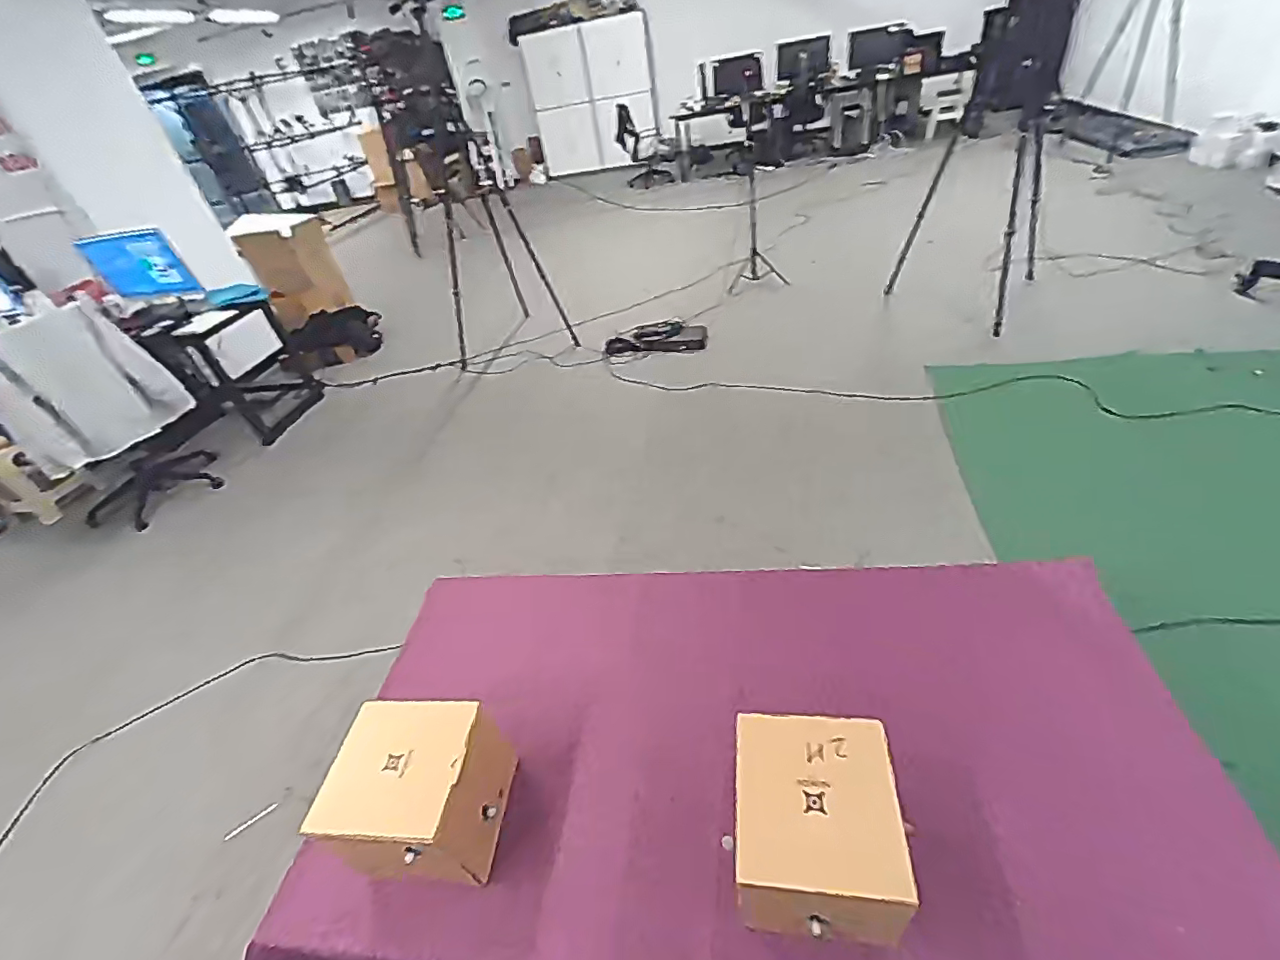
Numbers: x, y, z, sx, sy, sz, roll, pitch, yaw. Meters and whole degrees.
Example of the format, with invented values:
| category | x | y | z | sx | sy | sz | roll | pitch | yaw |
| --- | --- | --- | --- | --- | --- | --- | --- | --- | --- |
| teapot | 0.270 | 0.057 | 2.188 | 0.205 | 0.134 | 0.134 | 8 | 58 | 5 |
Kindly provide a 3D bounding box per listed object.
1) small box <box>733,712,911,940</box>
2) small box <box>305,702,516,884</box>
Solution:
| category | x | y | z | sx | sy | sz | roll | pitch | yaw |
| --- | --- | --- | --- | --- | --- | --- | --- | --- | --- |
| small box | 0.198 | 0.395 | 0.623 | 0.168 | 0.176 | 0.179 | -2 | 39 | 13 |
| small box | -0.292 | 0.422 | 0.733 | 0.179 | 0.176 | 0.168 | -4 | 38 | 10 |
